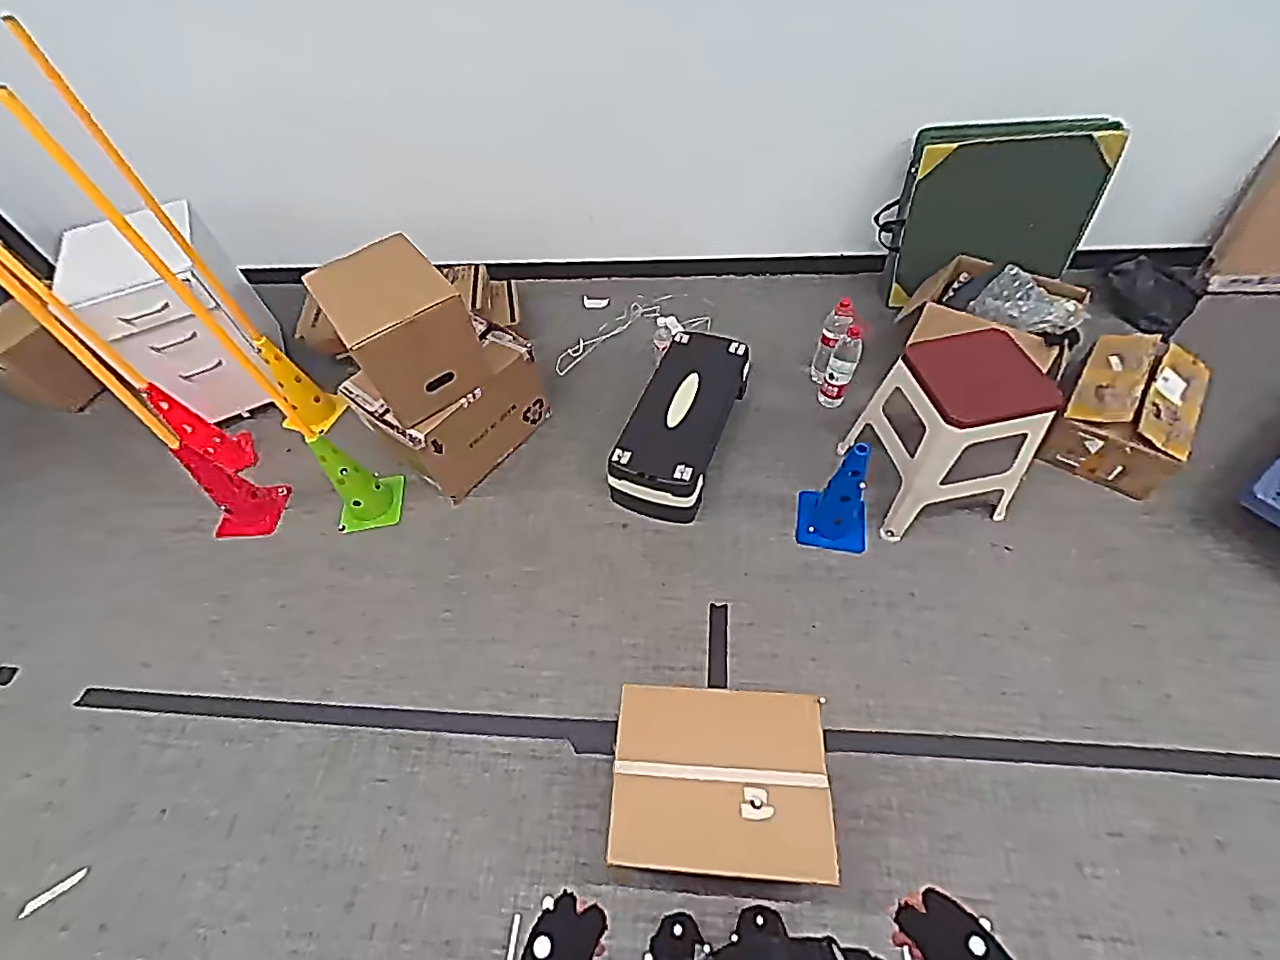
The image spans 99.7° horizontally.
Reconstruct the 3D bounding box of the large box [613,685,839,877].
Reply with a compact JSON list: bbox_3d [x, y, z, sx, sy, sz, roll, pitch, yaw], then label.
[{"bbox_3d":[0.162,0.645,1.155,0.408,0.320,0.320,1,55,5],"label":"large box"}]
